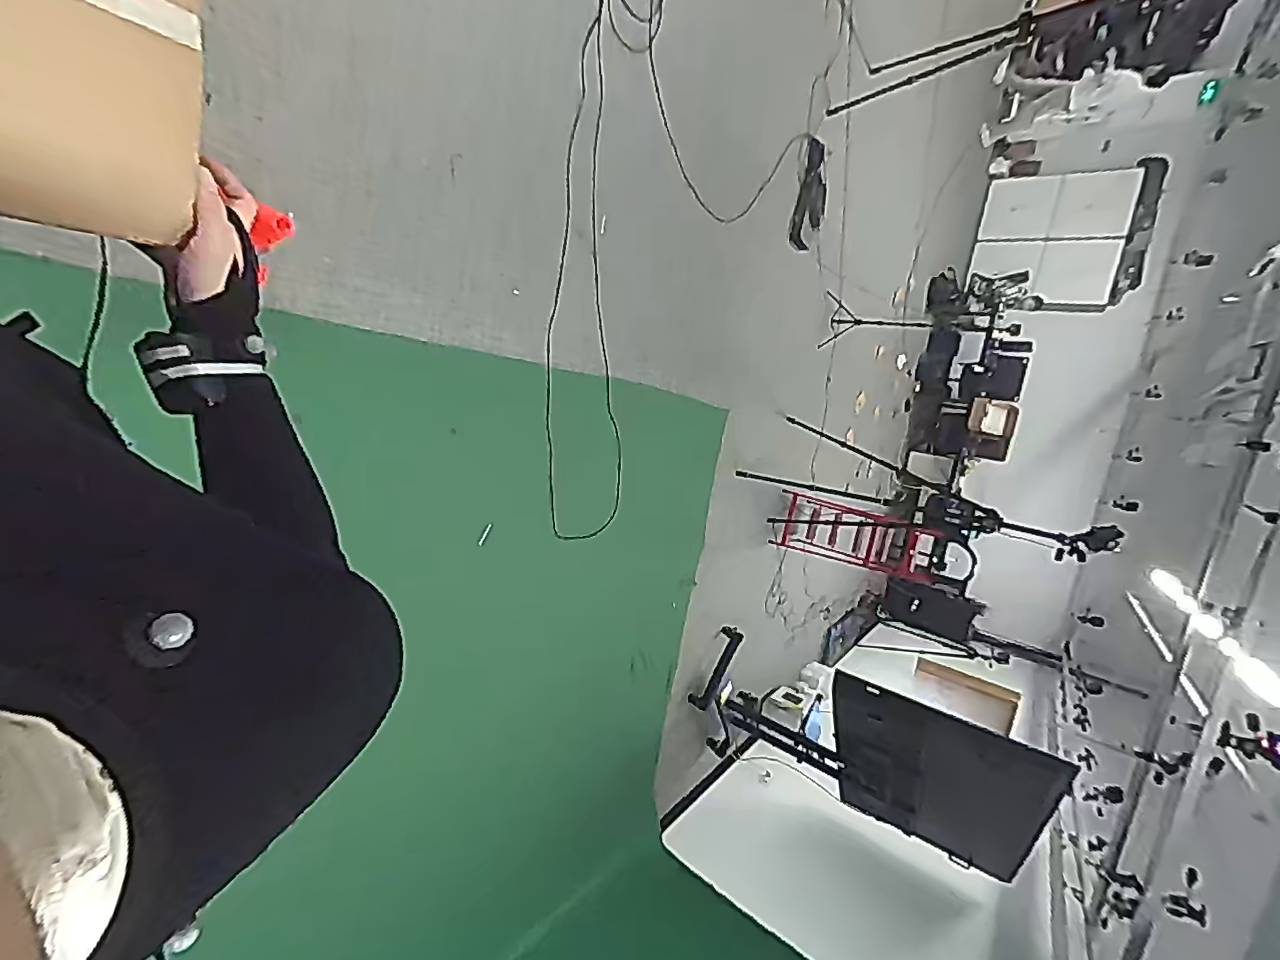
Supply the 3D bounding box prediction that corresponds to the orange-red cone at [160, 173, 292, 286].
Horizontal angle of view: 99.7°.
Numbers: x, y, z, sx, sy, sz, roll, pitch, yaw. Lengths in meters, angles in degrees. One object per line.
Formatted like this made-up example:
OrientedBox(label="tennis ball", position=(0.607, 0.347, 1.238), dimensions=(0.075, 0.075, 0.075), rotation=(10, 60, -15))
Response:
OrientedBox(label="orange-red cone", position=(-0.853, -0.544, 1.179), dimensions=(0.199, 0.360, 0.198), rotation=(11, 94, -56))
